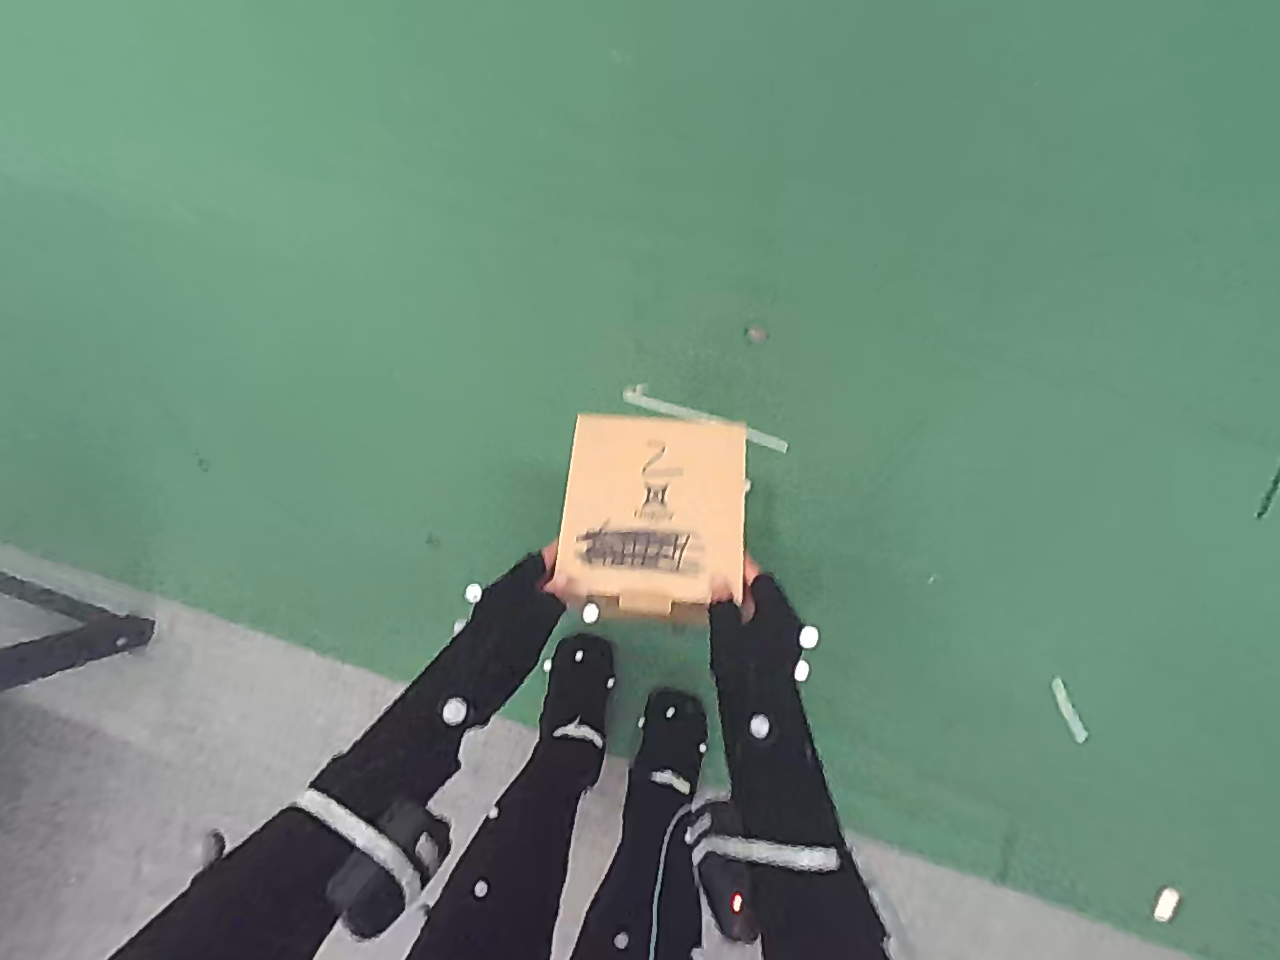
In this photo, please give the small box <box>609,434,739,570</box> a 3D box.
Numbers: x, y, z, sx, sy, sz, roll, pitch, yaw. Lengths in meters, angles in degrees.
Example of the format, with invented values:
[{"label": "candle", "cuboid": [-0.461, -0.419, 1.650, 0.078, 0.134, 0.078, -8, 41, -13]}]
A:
[{"label": "small box", "cuboid": [0.059, 0.035, 0.930, 0.168, 0.176, 0.179, 18, 90, 4]}]
